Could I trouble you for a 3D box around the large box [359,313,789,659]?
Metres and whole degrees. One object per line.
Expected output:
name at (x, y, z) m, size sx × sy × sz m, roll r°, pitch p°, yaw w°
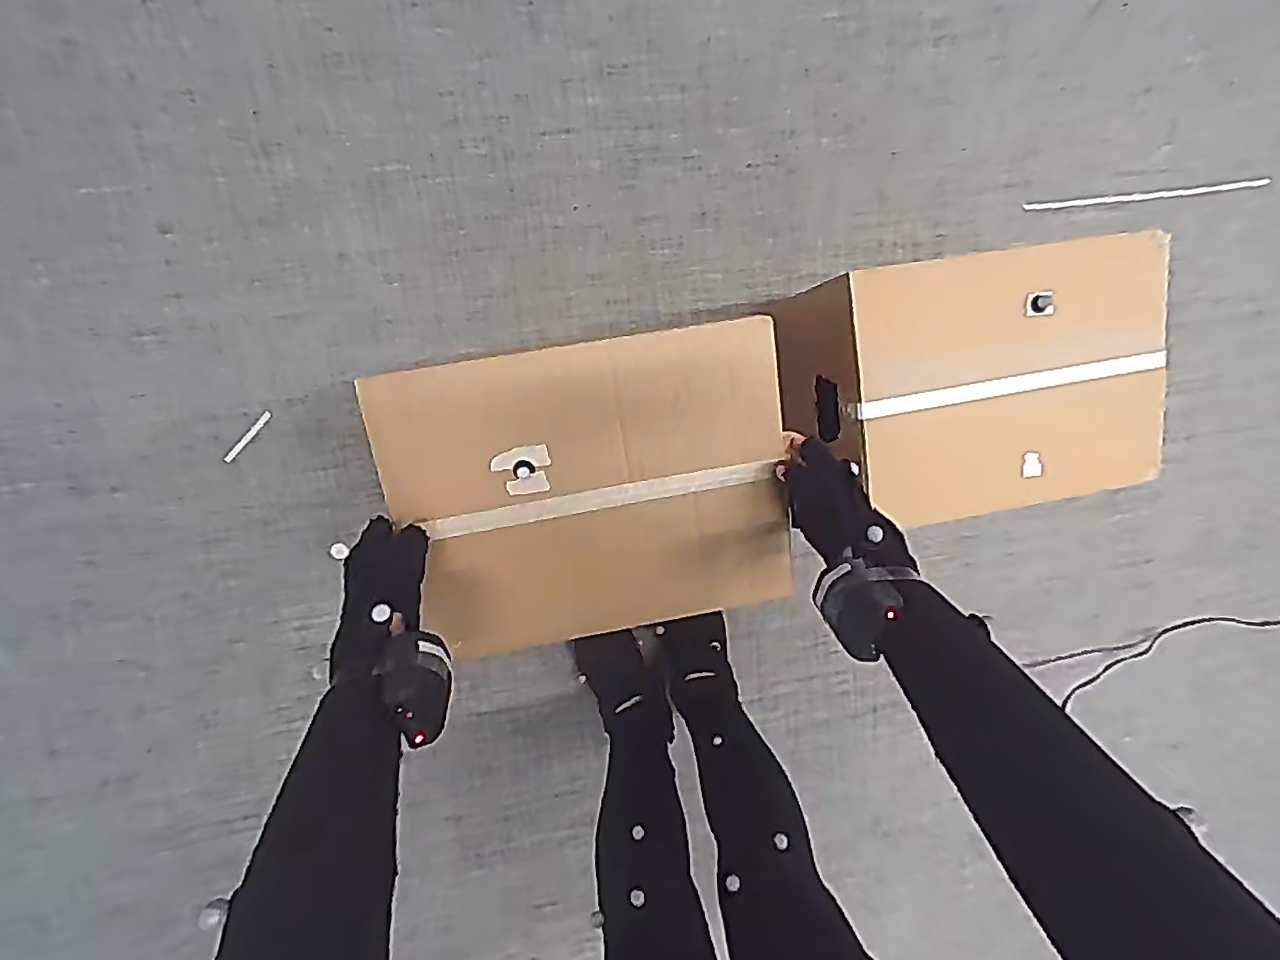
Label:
large box at (-0.062, -0.023, 0.700) m, size 0.408 × 0.320 × 0.320 m, roll -10°, pitch 105°, yaw -3°
